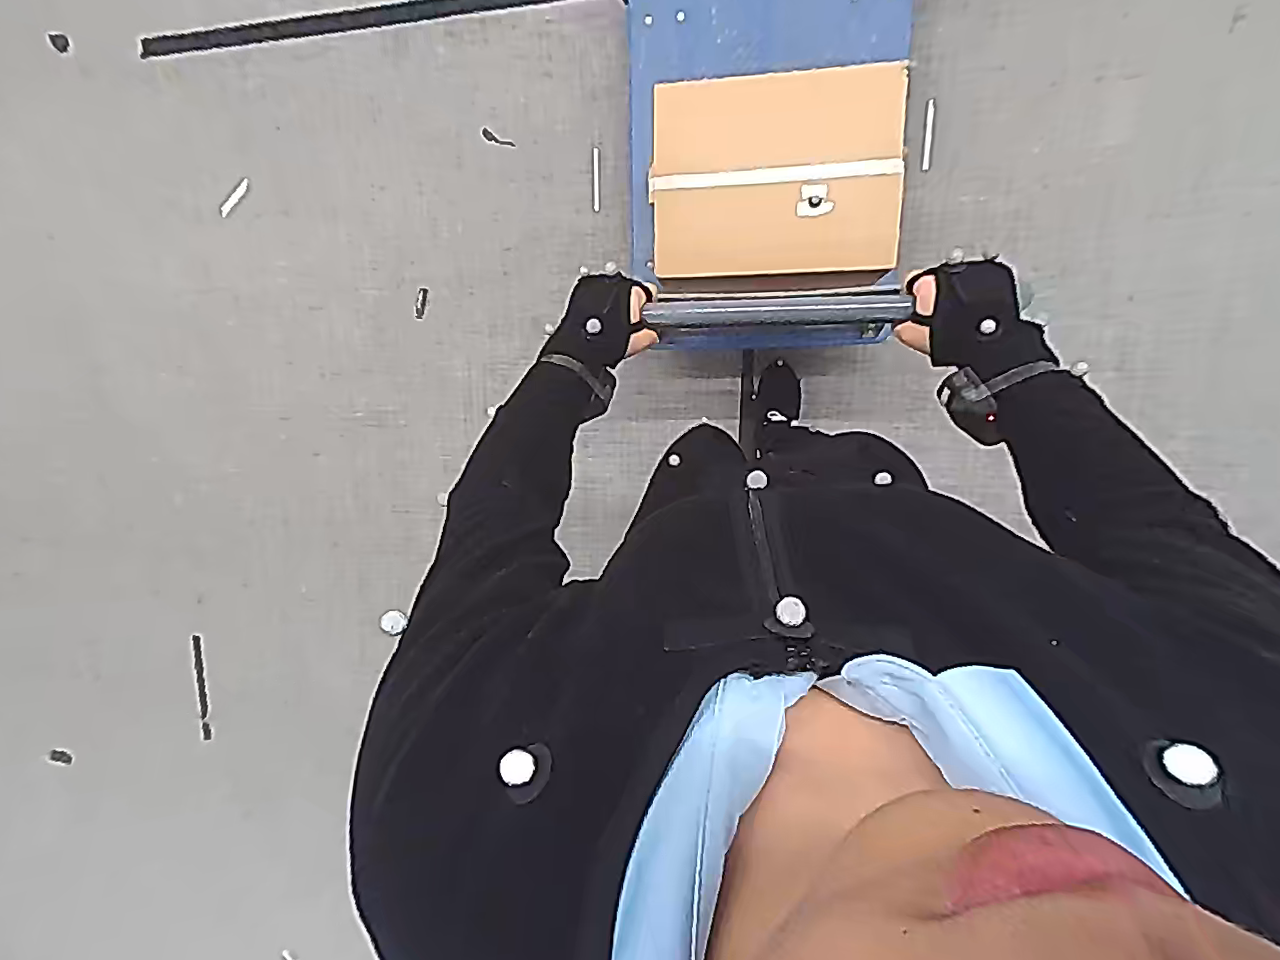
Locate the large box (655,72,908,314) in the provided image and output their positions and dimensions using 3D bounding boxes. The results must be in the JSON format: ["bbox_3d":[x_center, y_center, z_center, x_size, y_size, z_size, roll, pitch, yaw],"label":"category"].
[{"bbox_3d":[0.244,-0.506,1.036,0.408,0.320,0.320,1,100,8],"label":"large box"}]
